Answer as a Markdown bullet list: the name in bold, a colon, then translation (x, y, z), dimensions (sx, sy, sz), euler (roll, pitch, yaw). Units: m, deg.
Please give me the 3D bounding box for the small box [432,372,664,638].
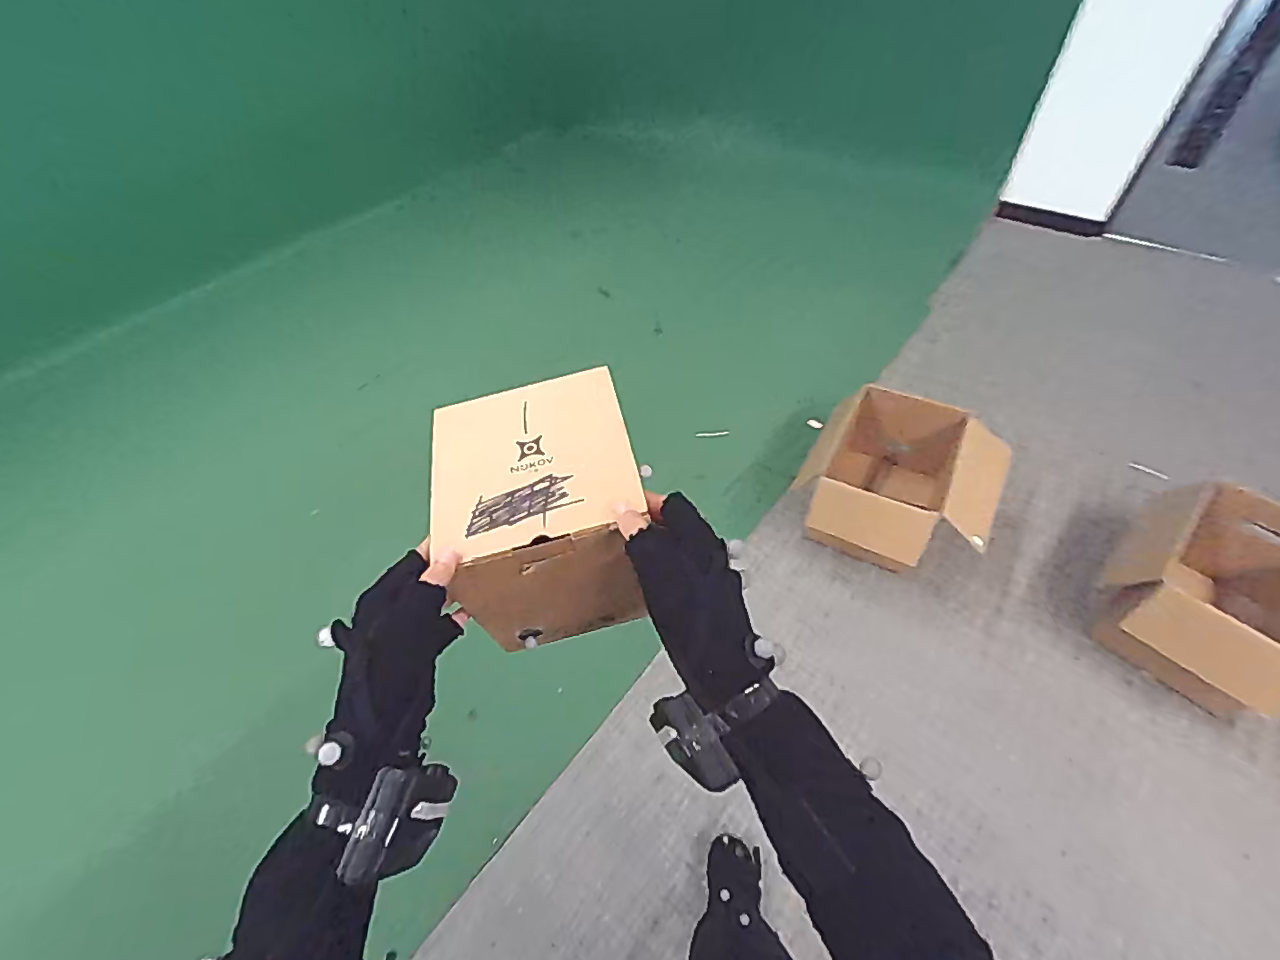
- **small box**: translation (-0.077, 0.032, 0.508), dimensions (0.168, 0.176, 0.179), euler (-12, 50, -2)
